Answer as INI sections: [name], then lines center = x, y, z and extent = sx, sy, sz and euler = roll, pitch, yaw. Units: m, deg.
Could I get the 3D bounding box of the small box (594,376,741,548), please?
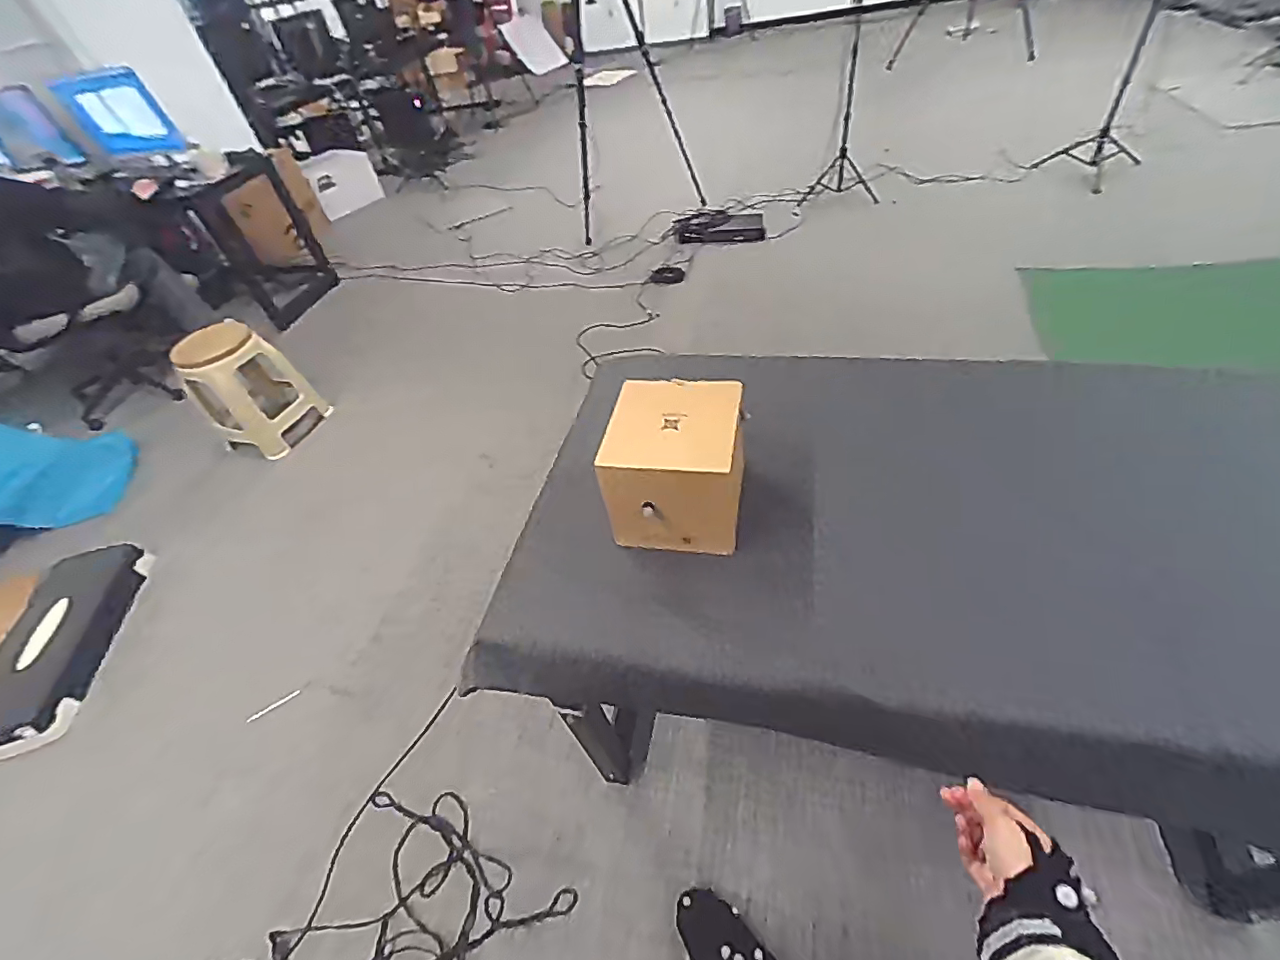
[small box]
center = 0.050, -0.024, 0.745
extent = 0.168, 0.176, 0.179
euler = 3, 46, 14
